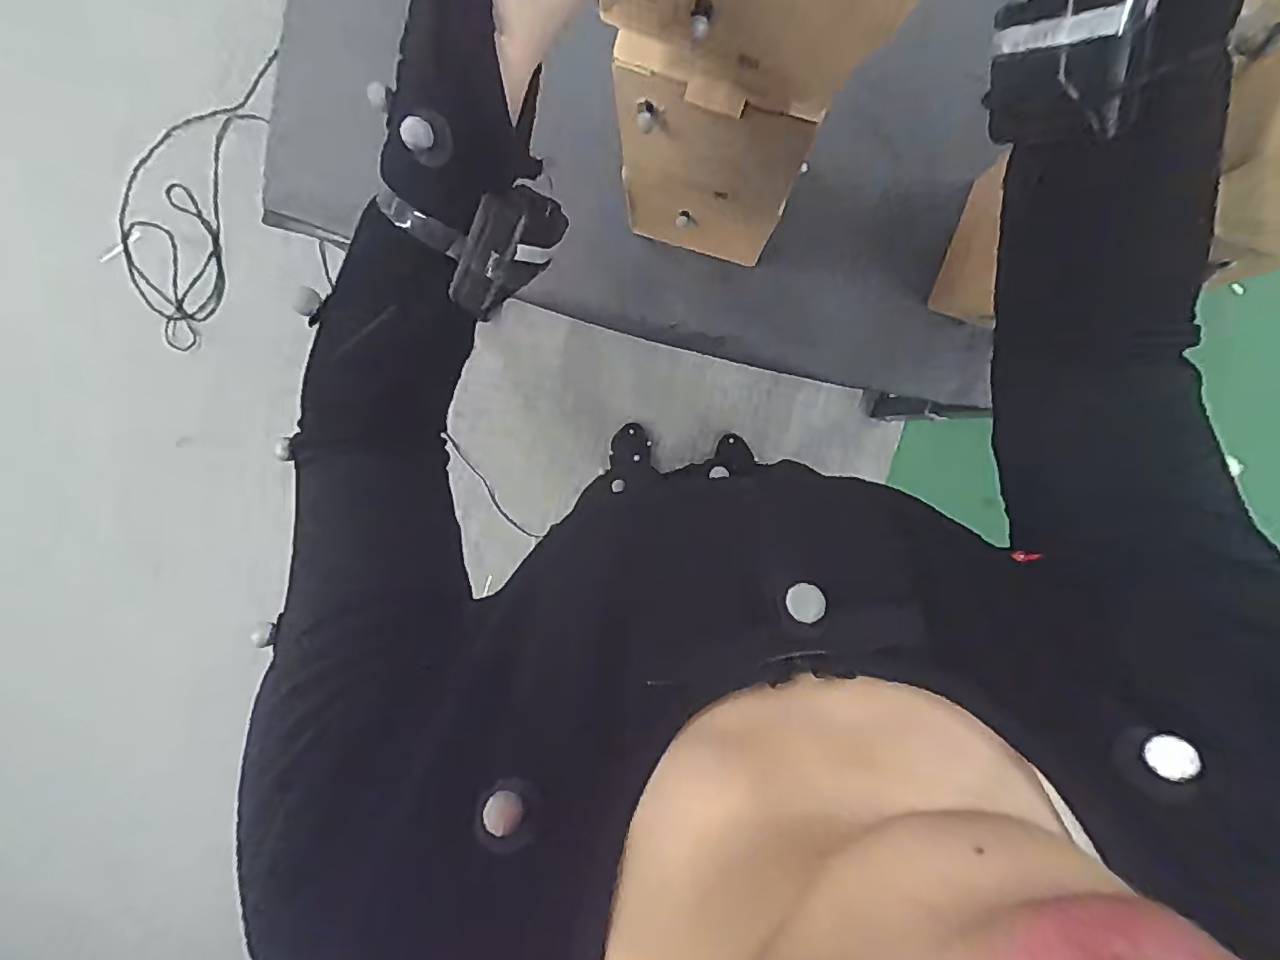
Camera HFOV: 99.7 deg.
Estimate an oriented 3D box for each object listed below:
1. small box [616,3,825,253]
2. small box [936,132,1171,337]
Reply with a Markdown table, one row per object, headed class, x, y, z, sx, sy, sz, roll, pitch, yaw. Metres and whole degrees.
| class | x | y | z | sx | sy | sz | roll | pitch | yaw |
| --- | --- | --- | --- | --- | --- | --- | --- | --- | --- |
| small box | 0.085 | -0.387 | 0.628 | 0.179 | 0.176 | 0.168 | 16 | 95 | 2 |
| small box | 0.476 | -0.284 | 0.614 | 0.168 | 0.176 | 0.179 | 20 | 95 | 2 |
